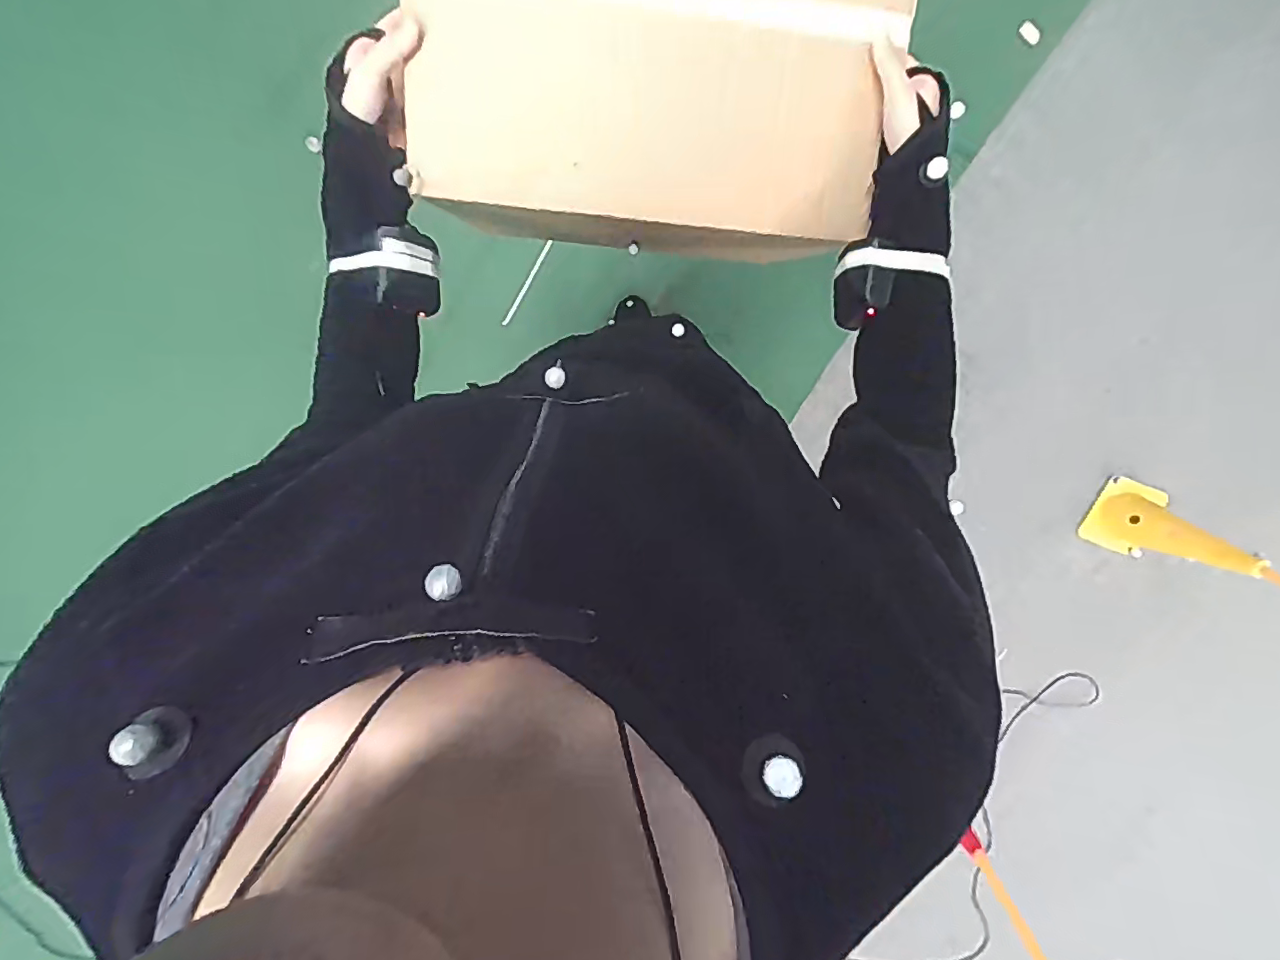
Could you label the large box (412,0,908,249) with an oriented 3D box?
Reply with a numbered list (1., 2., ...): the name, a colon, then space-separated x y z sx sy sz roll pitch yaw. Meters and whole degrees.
1. large box: 0.011 -0.432 0.573 0.408 0.320 0.320 3 109 -6
